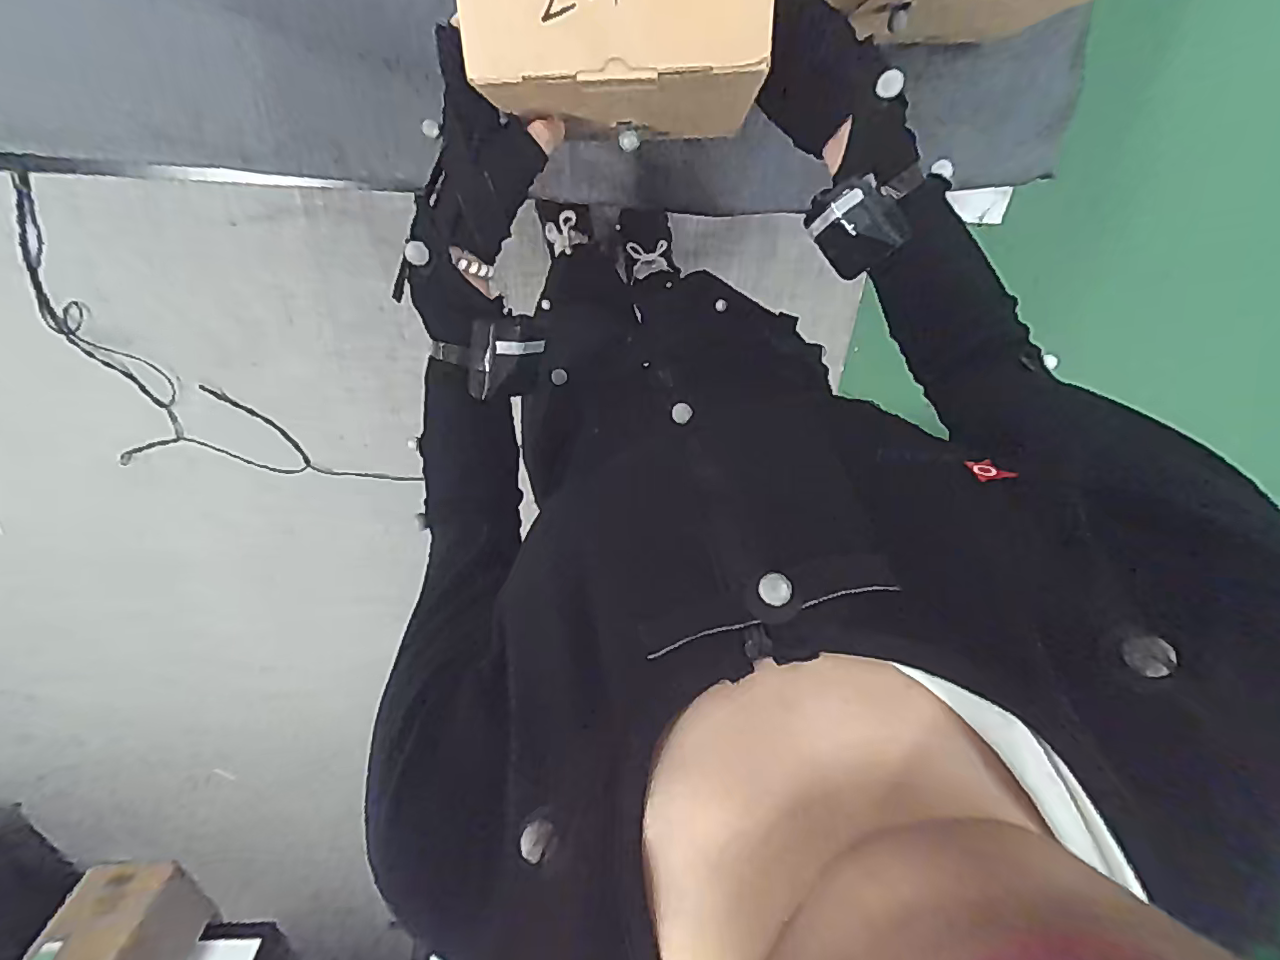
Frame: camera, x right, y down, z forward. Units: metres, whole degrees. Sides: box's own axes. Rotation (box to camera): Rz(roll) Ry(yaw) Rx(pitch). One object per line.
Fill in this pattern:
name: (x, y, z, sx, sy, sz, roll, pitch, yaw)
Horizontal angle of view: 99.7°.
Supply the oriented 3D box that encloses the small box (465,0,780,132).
small box: (-0.007, -0.335, 0.330, 0.168, 0.176, 0.179, 0, 112, 3)
